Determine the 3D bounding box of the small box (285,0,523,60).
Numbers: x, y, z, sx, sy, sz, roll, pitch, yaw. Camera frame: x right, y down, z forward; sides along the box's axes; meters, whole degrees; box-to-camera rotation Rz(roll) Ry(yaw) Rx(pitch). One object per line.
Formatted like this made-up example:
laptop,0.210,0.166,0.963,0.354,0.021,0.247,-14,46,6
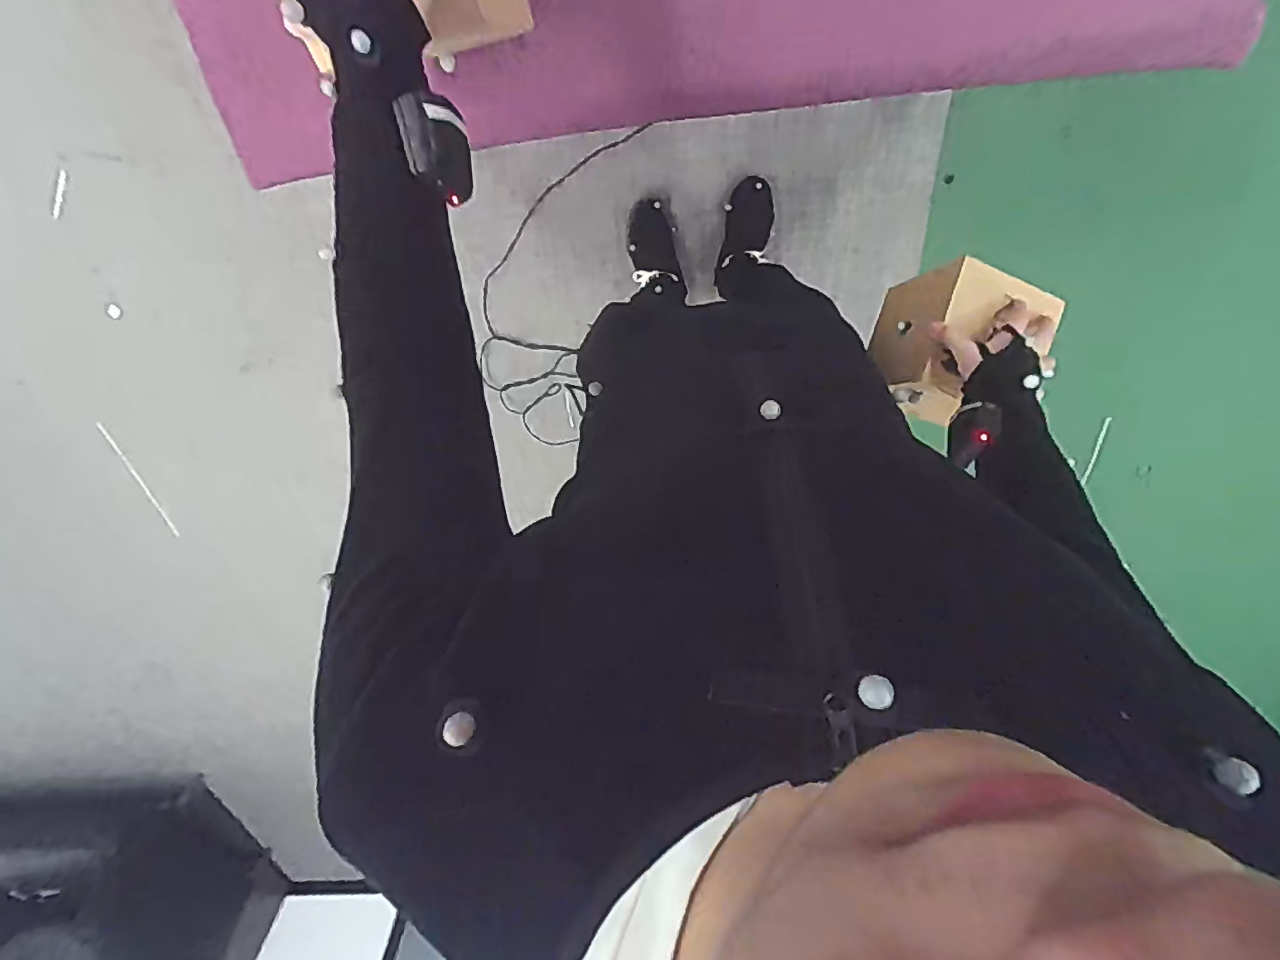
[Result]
small box,-0.222,-0.498,0.478,0.168,0.176,0.179,-6,129,11

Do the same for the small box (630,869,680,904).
small box,0.055,1.334,1.875,0.168,0.176,0.179,-2,120,3
